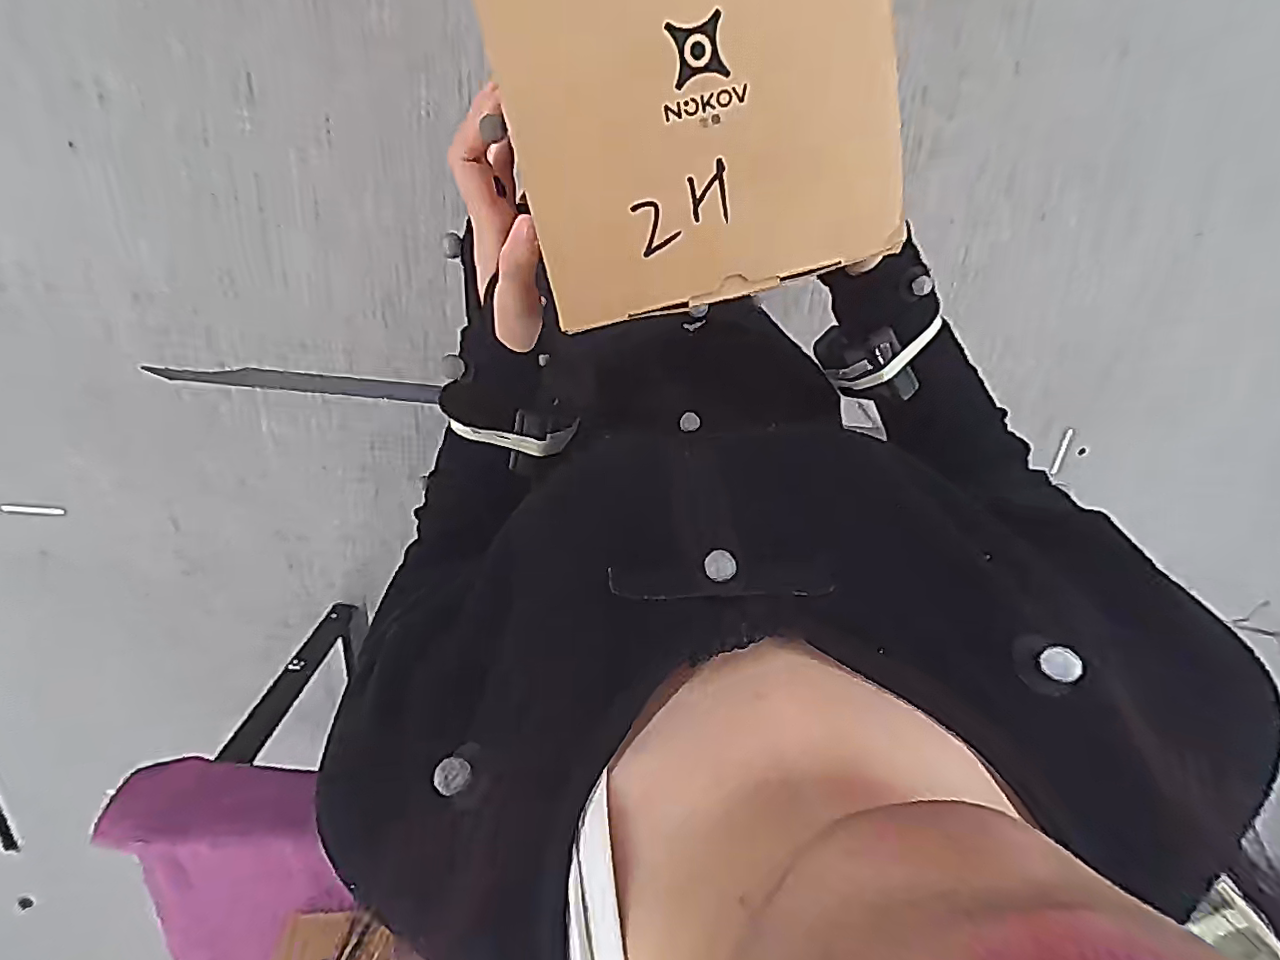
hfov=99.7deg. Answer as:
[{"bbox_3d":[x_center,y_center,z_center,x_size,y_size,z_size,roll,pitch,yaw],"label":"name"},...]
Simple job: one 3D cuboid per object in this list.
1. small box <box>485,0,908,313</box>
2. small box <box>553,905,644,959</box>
[{"bbox_3d":[0.019,-0.200,0.296,0.168,0.176,0.179,-14,111,1],"label":"small box"},{"bbox_3d":[-0.083,0.945,1.025,0.168,0.176,0.179,4,112,-5],"label":"small box"}]
